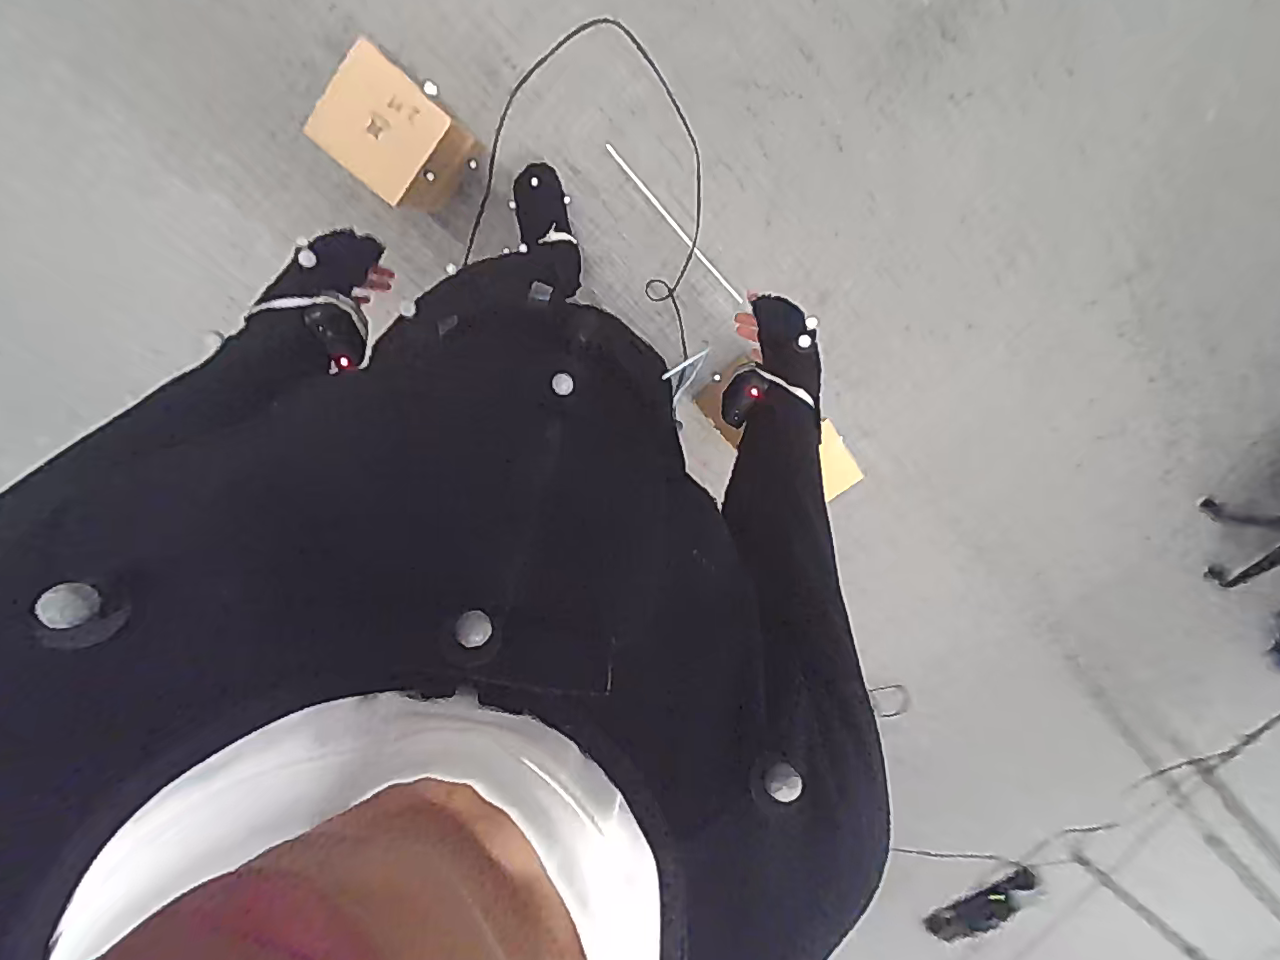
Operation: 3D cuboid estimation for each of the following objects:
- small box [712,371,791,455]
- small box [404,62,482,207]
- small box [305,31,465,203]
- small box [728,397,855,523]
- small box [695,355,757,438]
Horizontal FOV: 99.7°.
[{"bbox_3d":[0.290,-0.129,1.288,0.179,0.176,0.168,-41,115,12],"label":"small box"},{"bbox_3d":[-0.437,-0.683,1.090,0.168,0.176,0.179,39,106,-23],"label":"small box"},{"bbox_3d":[-0.428,-0.613,0.942,0.168,0.176,0.179,39,106,-23],"label":"small box"},{"bbox_3d":[0.314,-0.048,1.149,0.179,0.176,0.168,-35,116,11],"label":"small box"},{"bbox_3d":[0.262,-0.200,1.434,0.179,0.176,0.168,-40,115,14],"label":"small box"}]
